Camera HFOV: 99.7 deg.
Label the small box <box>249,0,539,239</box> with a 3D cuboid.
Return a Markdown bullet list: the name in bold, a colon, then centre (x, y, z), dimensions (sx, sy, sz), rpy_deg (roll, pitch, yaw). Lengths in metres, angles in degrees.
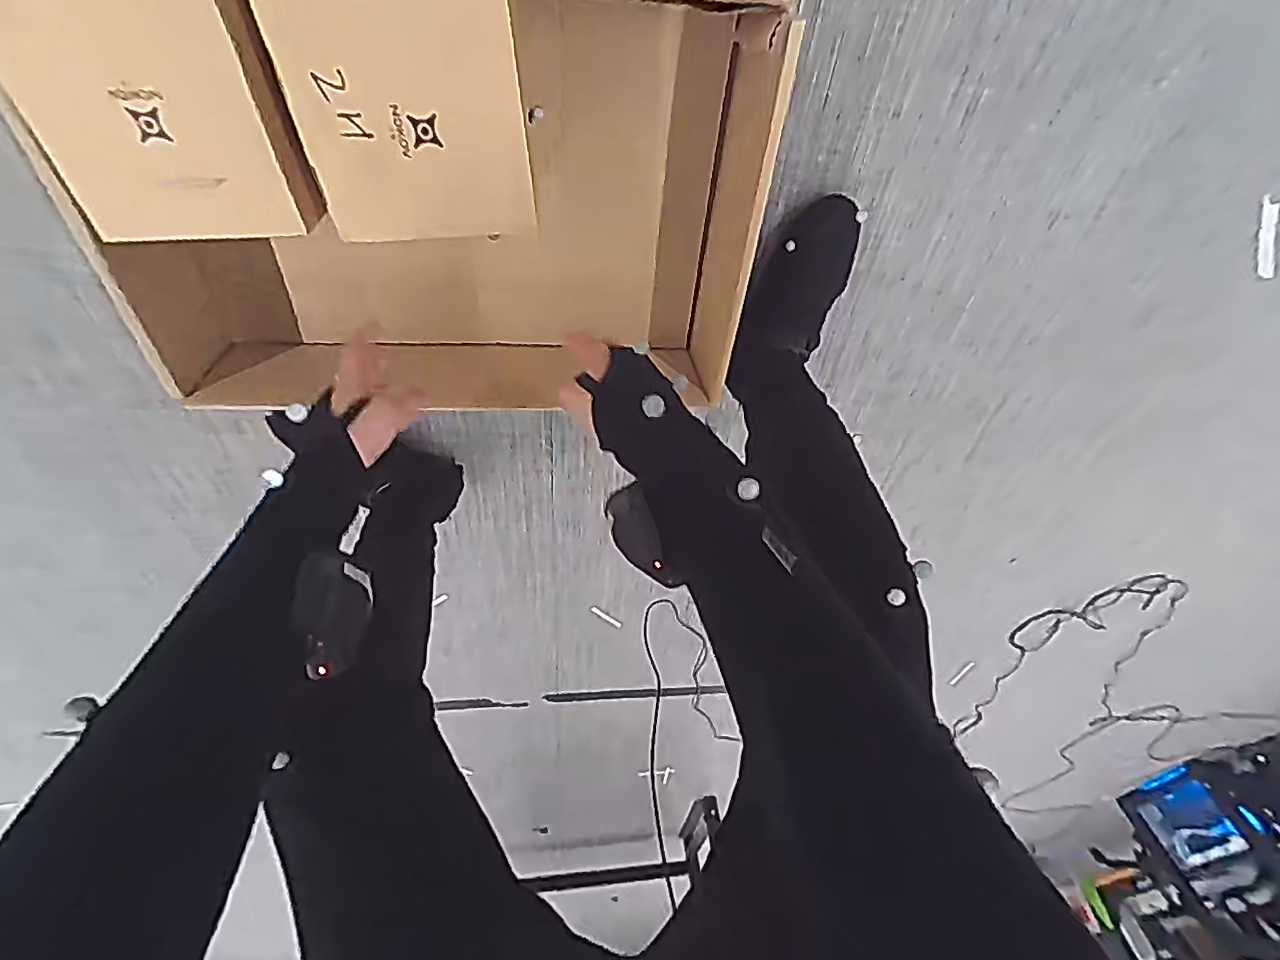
- **small box**: centre (-0.188, -0.330, 0.478), dimensions (0.179, 0.176, 0.168), rpy_deg (-6, 133, -6)
